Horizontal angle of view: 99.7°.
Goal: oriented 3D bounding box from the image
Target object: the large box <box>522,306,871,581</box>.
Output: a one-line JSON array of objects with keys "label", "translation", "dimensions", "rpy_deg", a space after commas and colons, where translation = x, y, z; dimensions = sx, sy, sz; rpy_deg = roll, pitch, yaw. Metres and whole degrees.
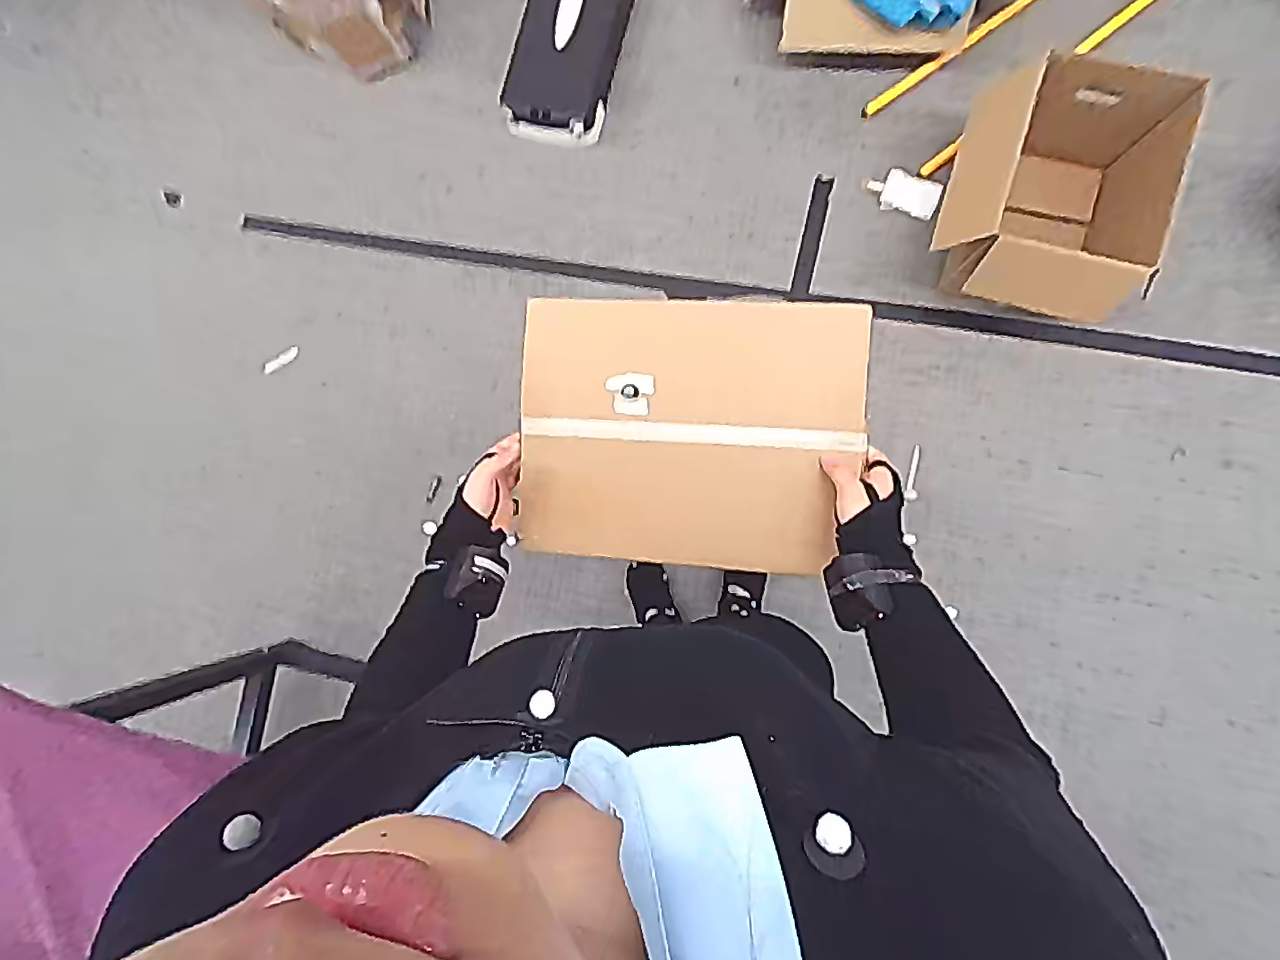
[{"label": "large box", "translation": [0.081, -0.053, 0.781], "dimensions": [0.408, 0.320, 0.320], "rpy_deg": [4, 91, 9]}]
